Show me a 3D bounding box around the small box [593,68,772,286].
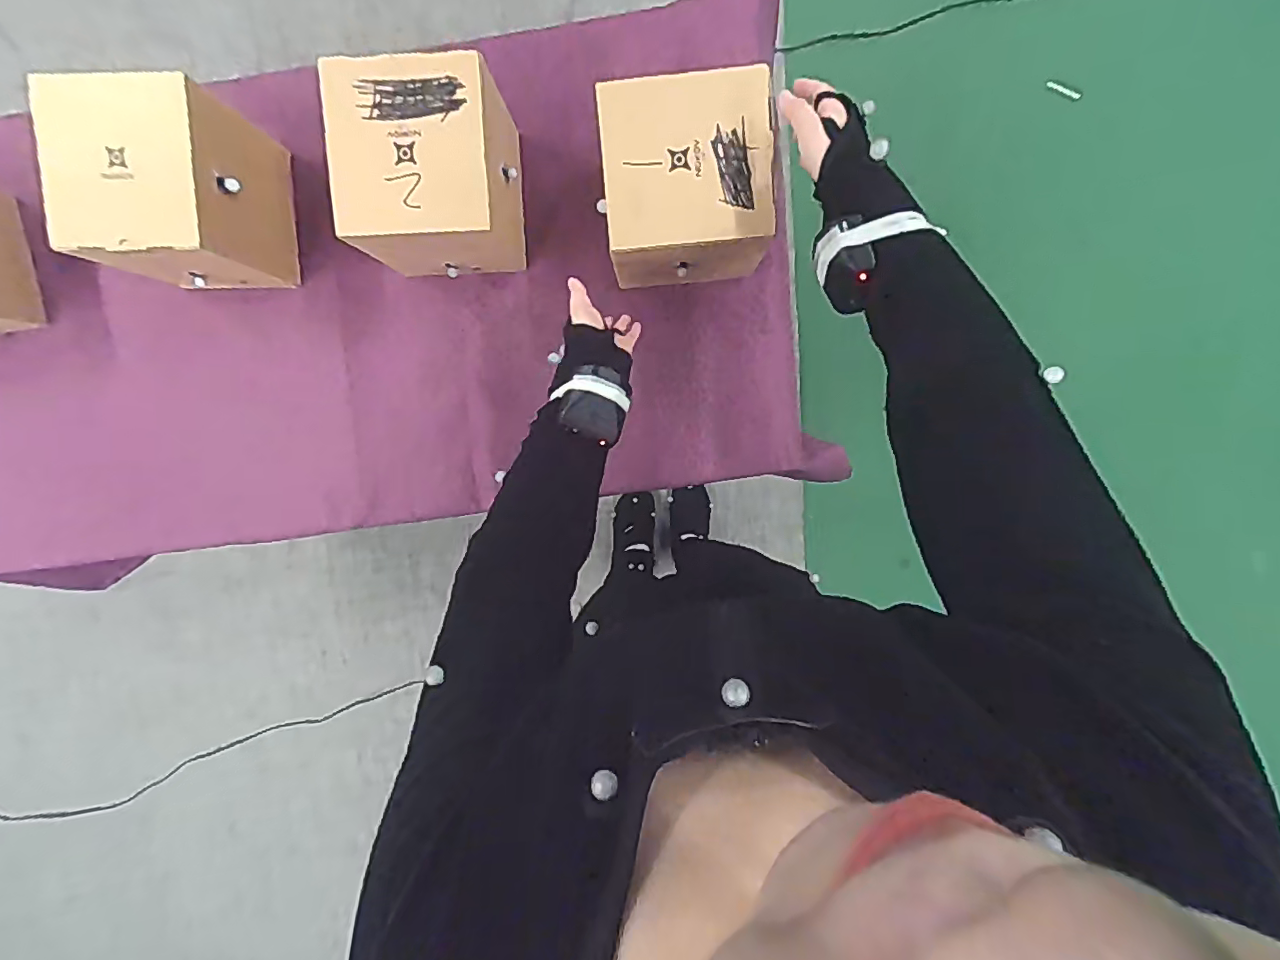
[{"bbox_3d":[0.047,-0.333,0.629,0.179,0.176,0.168,-4,96,3],"label":"small box"}]

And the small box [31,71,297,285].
[{"bbox_3d":[-0.544,-0.343,0.644,0.168,0.176,0.179,0,98,1],"label":"small box"}]

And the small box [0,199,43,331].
[{"bbox_3d":[-0.907,-0.282,0.656,0.168,0.176,0.179,-7,97,2],"label":"small box"}]
